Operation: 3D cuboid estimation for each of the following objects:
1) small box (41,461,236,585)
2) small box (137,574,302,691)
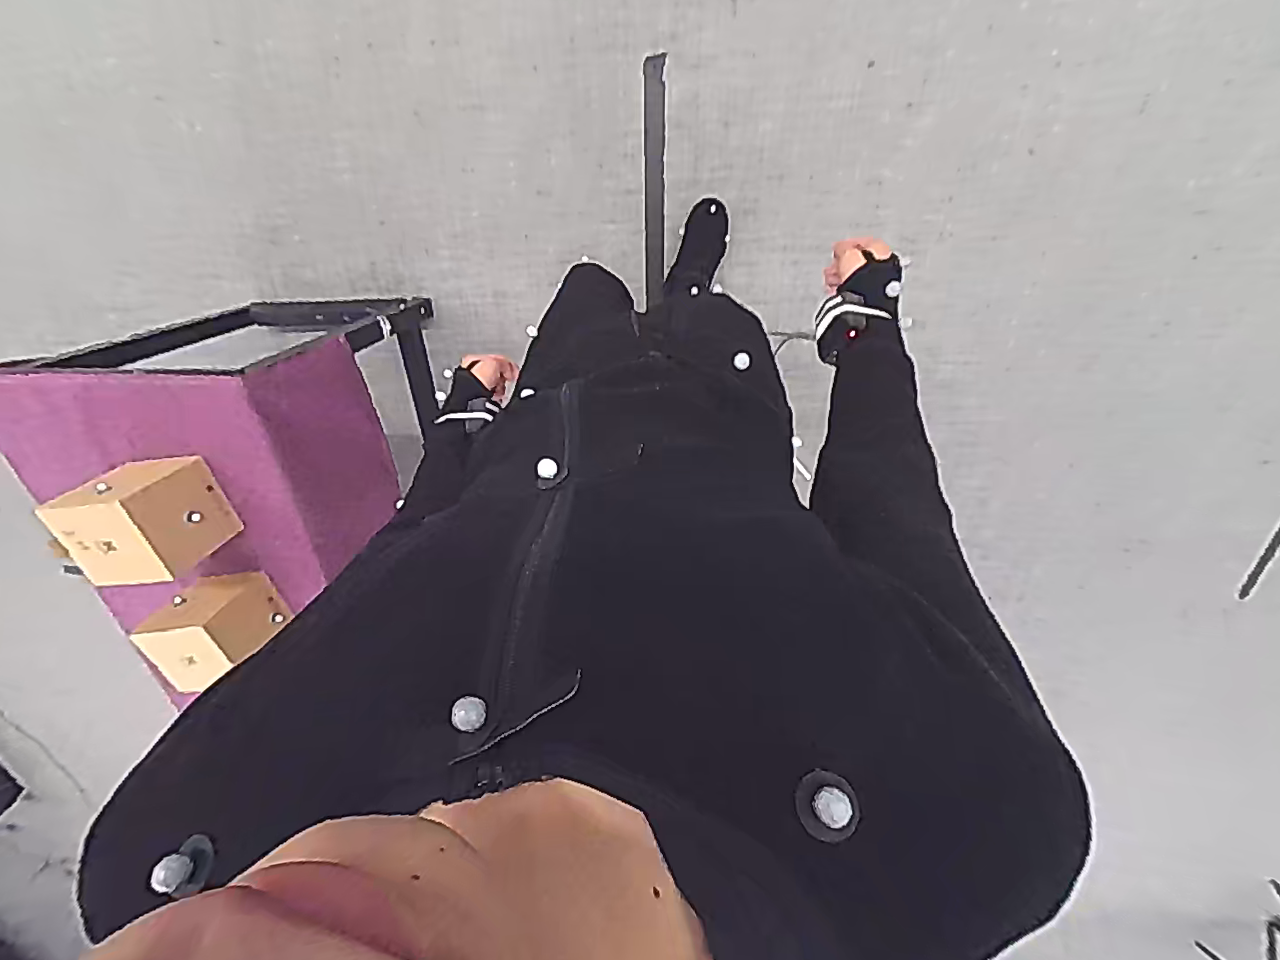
[{"bbox_3d":[-0.896,0.074,0.994,0.179,0.176,0.168,-4,119,11],"label":"small box"},{"bbox_3d":[-0.862,0.314,1.128,0.179,0.176,0.168,-8,119,13],"label":"small box"}]
